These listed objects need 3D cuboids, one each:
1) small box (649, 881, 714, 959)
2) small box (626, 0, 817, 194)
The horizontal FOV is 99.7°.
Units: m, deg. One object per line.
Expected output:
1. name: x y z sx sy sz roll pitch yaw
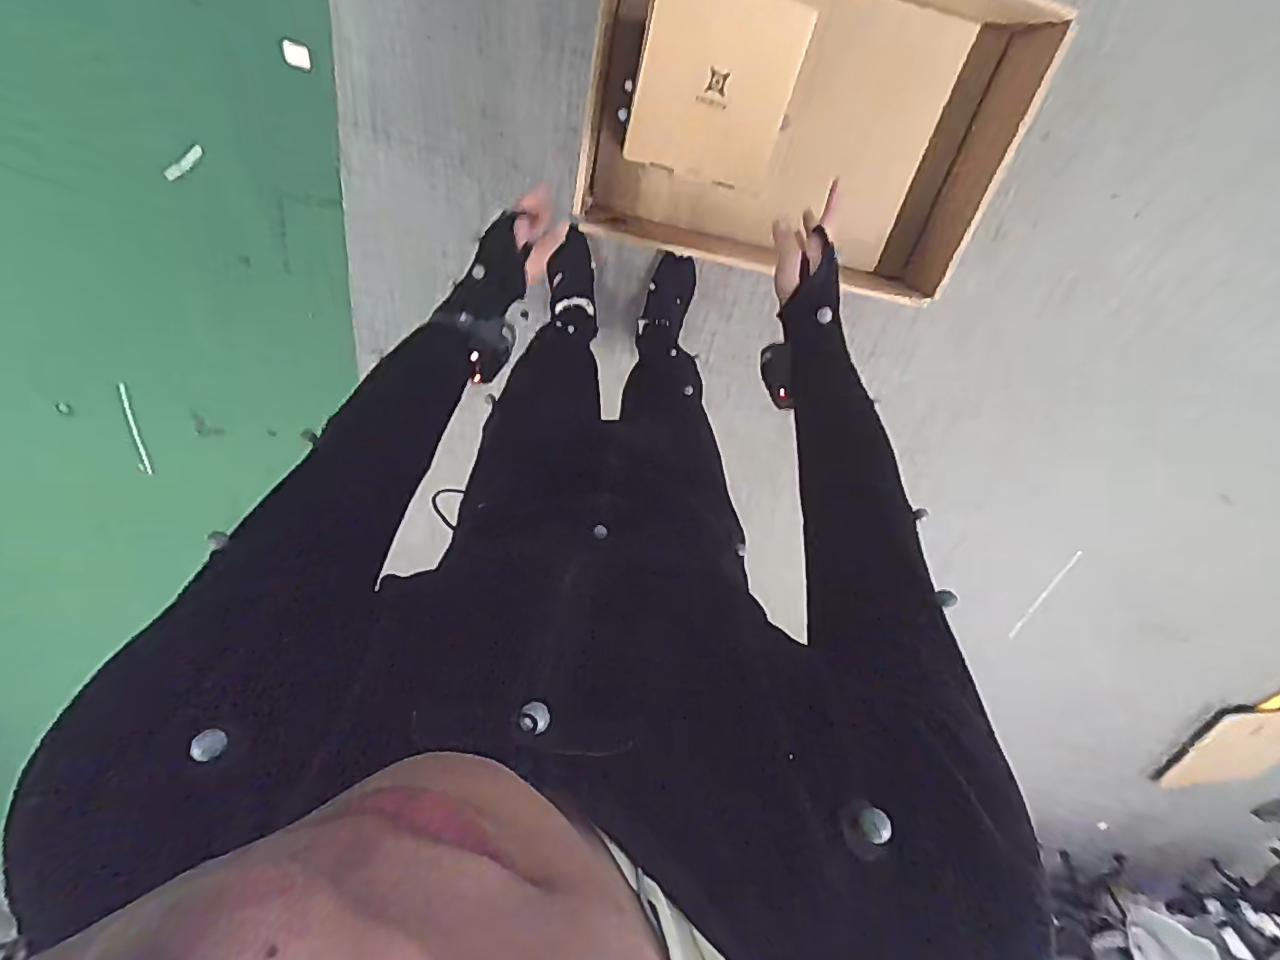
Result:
1. small box: 0.125 1.407 1.713 0.168 0.176 0.179 8 123 -7
2. small box: 0.079 -0.466 0.646 0.168 0.176 0.179 11 122 -9
